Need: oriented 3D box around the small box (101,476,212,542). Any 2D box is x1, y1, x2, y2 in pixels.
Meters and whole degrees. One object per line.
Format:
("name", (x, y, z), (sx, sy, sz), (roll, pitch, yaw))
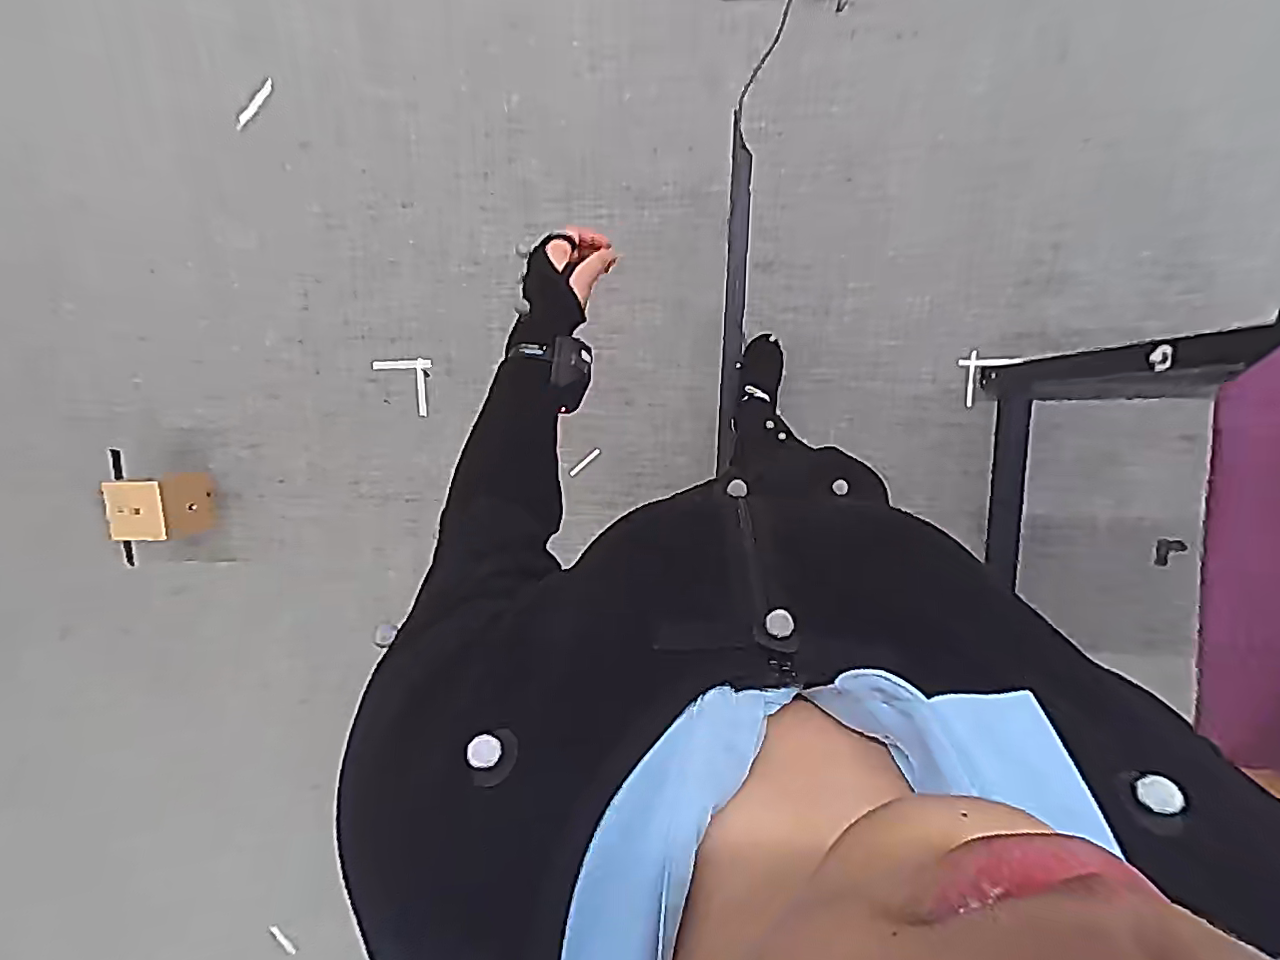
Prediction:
("small box", (-1.376, 0.077, 1.556), (0.179, 0.176, 0.168), (0, 97, 6))
